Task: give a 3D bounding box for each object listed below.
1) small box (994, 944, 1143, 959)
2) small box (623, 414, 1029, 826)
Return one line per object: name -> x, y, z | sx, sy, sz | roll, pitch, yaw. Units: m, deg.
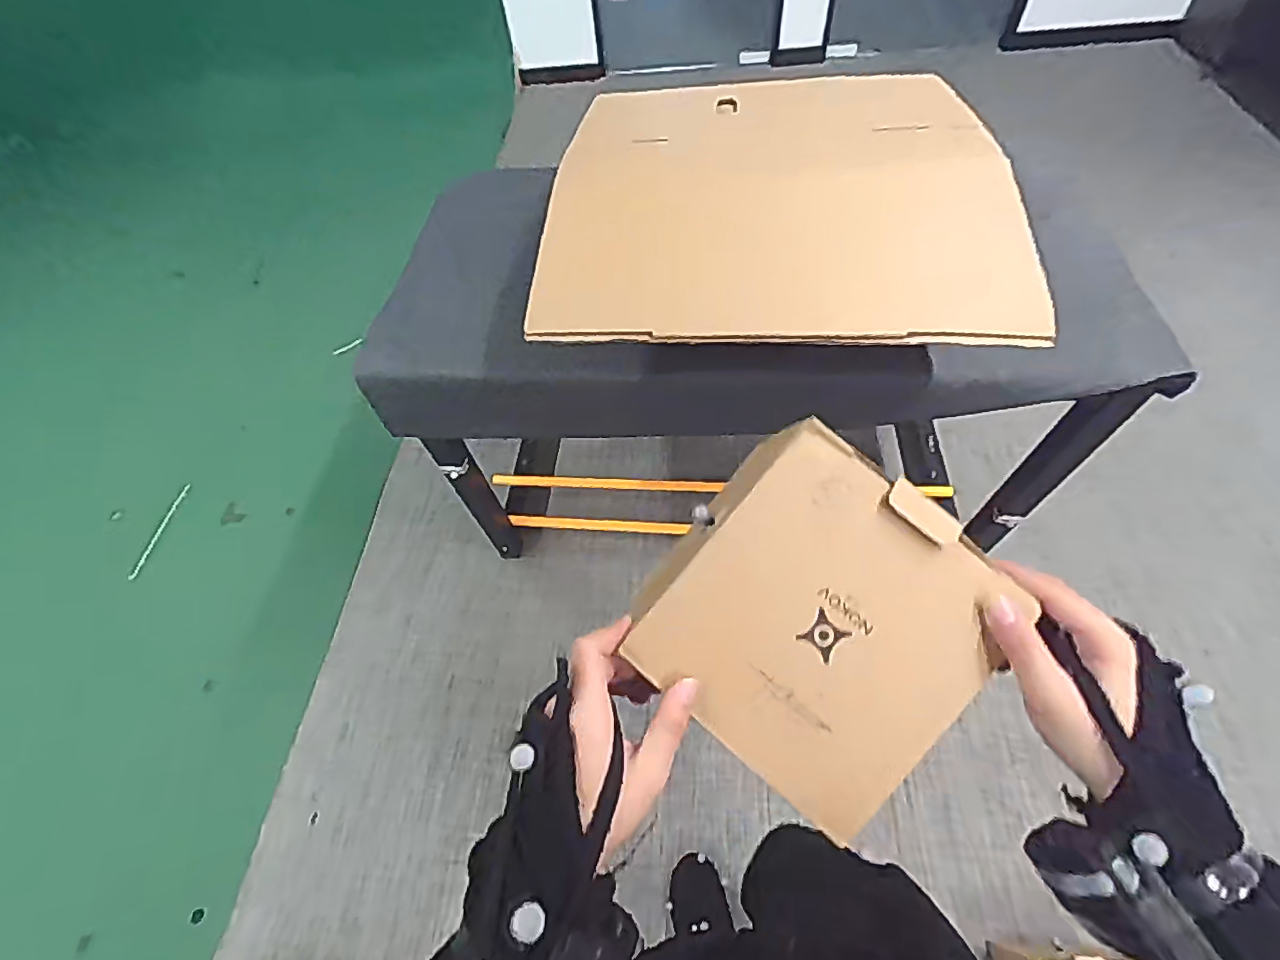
small box -> 0.706, 0.860, 0.859 | 0.168, 0.176, 0.179 | -3, 56, 3
small box -> 0.106, 0.079, 0.385 | 0.168, 0.176, 0.179 | 39, 90, 4
